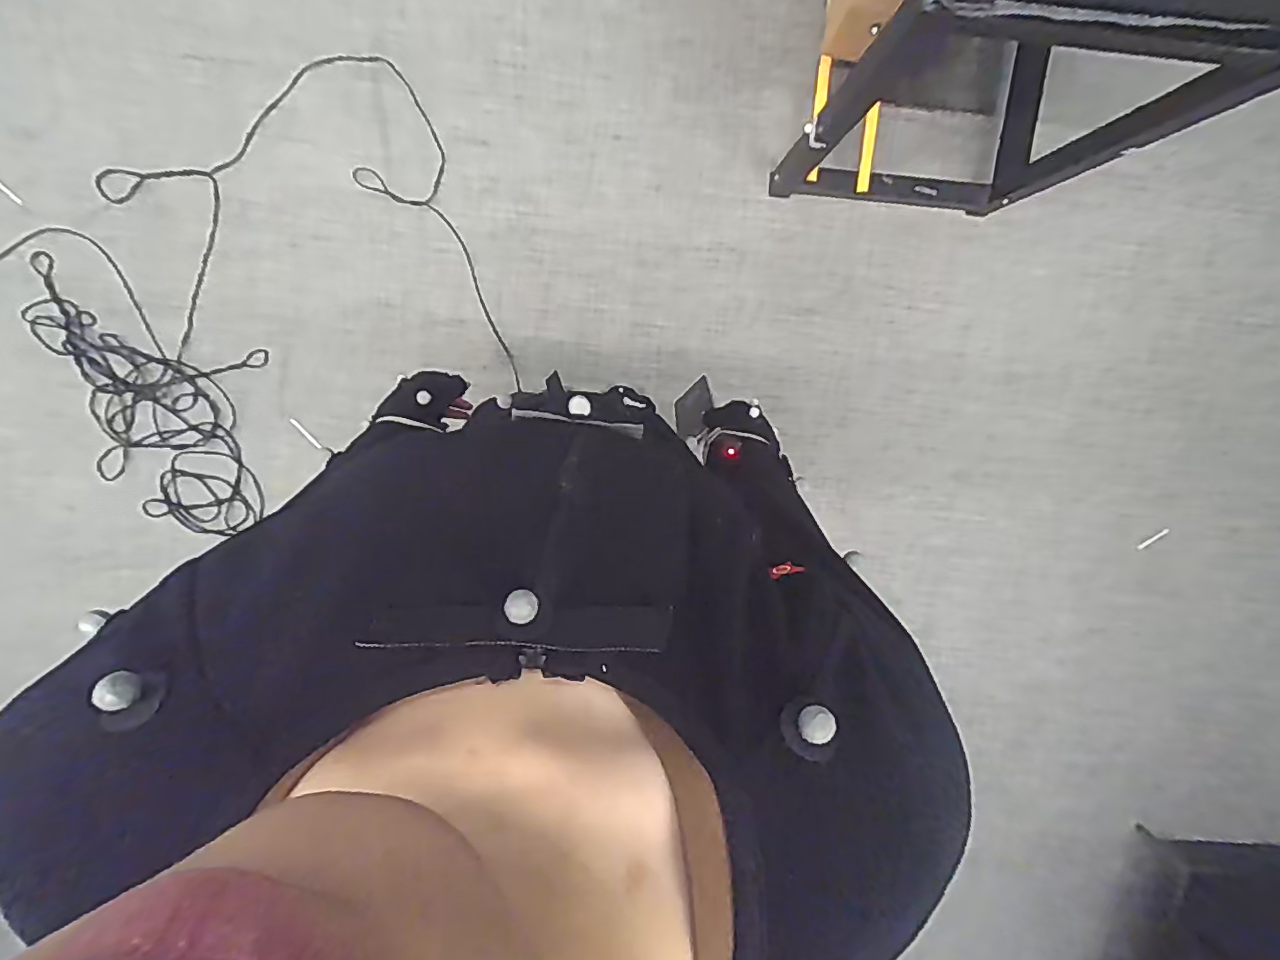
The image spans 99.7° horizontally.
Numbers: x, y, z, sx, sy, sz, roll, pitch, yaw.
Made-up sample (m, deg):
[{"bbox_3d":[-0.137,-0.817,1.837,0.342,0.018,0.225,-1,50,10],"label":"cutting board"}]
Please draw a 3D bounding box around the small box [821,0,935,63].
[{"bbox_3d":[0.501,-1.017,1.130,0.179,0.176,0.168,7,100,-4],"label":"small box"}]
